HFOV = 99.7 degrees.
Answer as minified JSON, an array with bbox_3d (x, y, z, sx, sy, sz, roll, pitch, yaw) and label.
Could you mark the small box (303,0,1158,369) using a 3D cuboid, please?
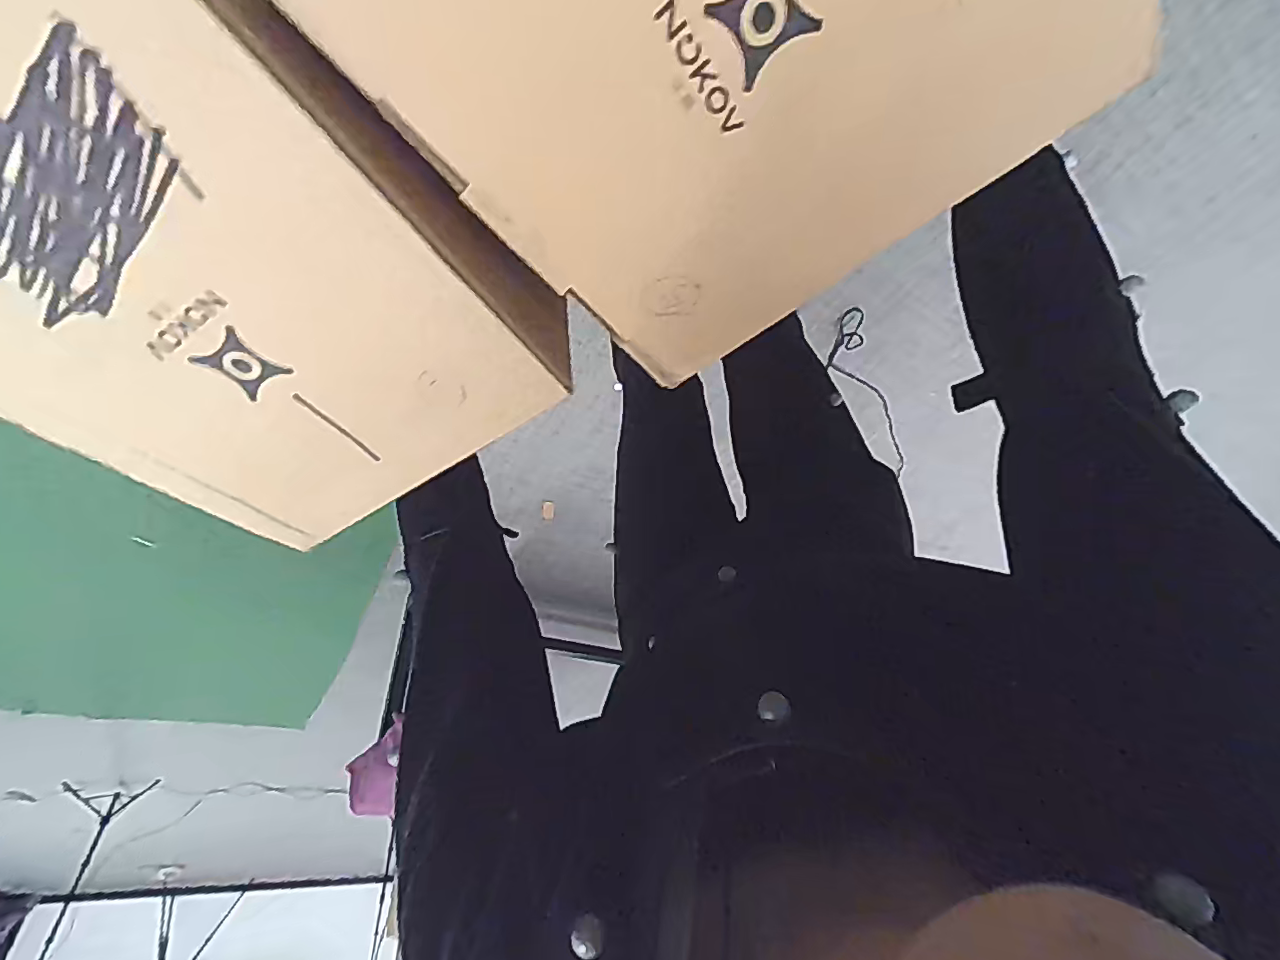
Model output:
[{"bbox_3d":[0.021,-0.181,0.191,0.179,0.176,0.168,-30,132,25],"label":"small box"}]
